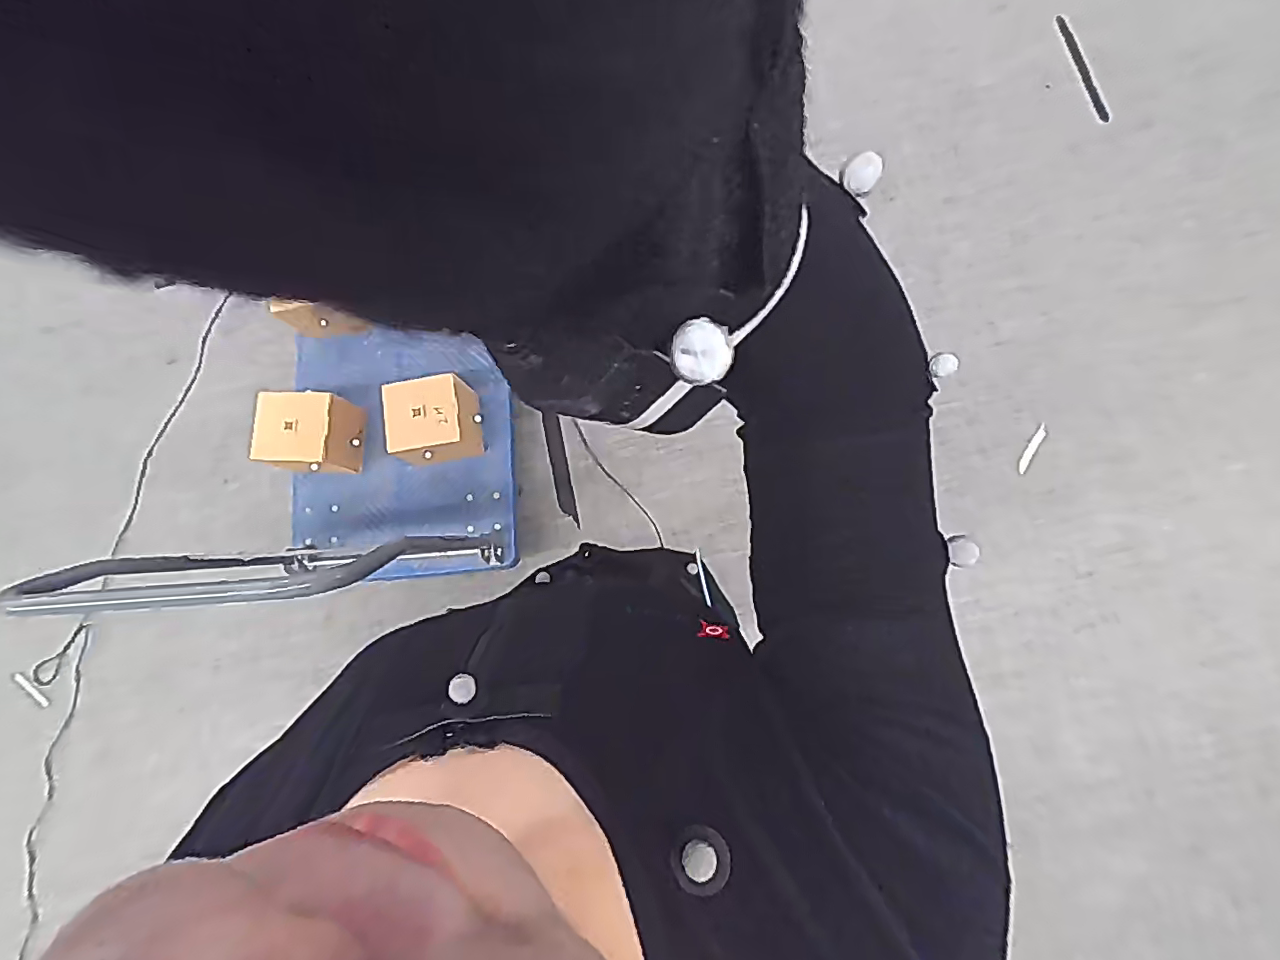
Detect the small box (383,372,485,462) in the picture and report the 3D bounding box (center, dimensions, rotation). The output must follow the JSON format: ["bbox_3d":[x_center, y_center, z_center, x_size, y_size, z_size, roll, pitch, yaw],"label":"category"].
[{"bbox_3d":[-0.498,-0.148,1.323,0.179,0.176,0.168,-9,82,1],"label":"small box"}]

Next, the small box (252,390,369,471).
[{"bbox_3d":[-0.804,-0.117,1.333,0.179,0.176,0.168,1,81,1],"label":"small box"}]
